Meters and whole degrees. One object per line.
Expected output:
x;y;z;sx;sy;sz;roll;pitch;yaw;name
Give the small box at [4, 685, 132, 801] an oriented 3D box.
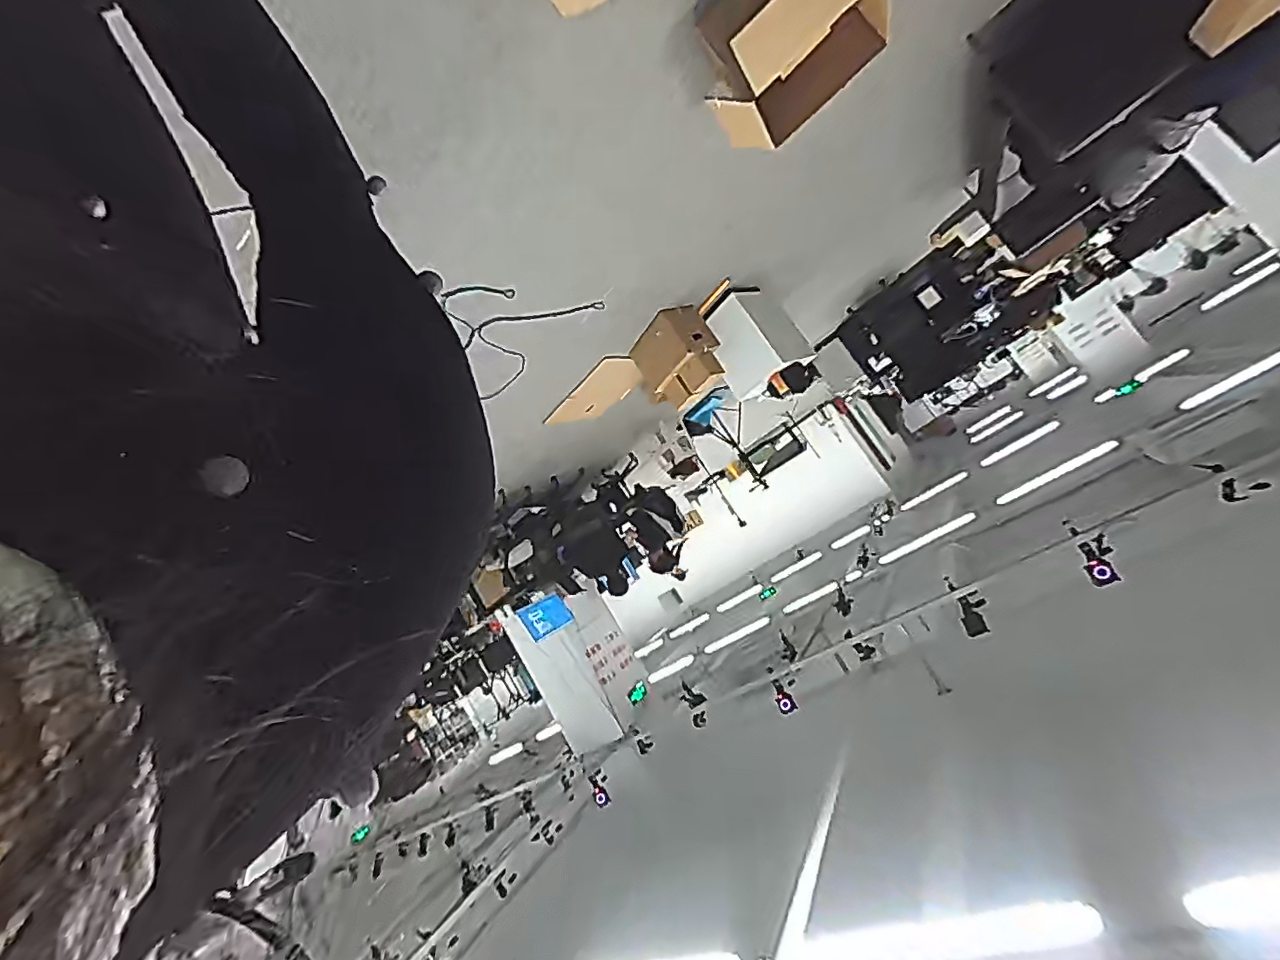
-1.375;0.623;1.298;0.179;0.176;0.168;-38;170;30;small box
